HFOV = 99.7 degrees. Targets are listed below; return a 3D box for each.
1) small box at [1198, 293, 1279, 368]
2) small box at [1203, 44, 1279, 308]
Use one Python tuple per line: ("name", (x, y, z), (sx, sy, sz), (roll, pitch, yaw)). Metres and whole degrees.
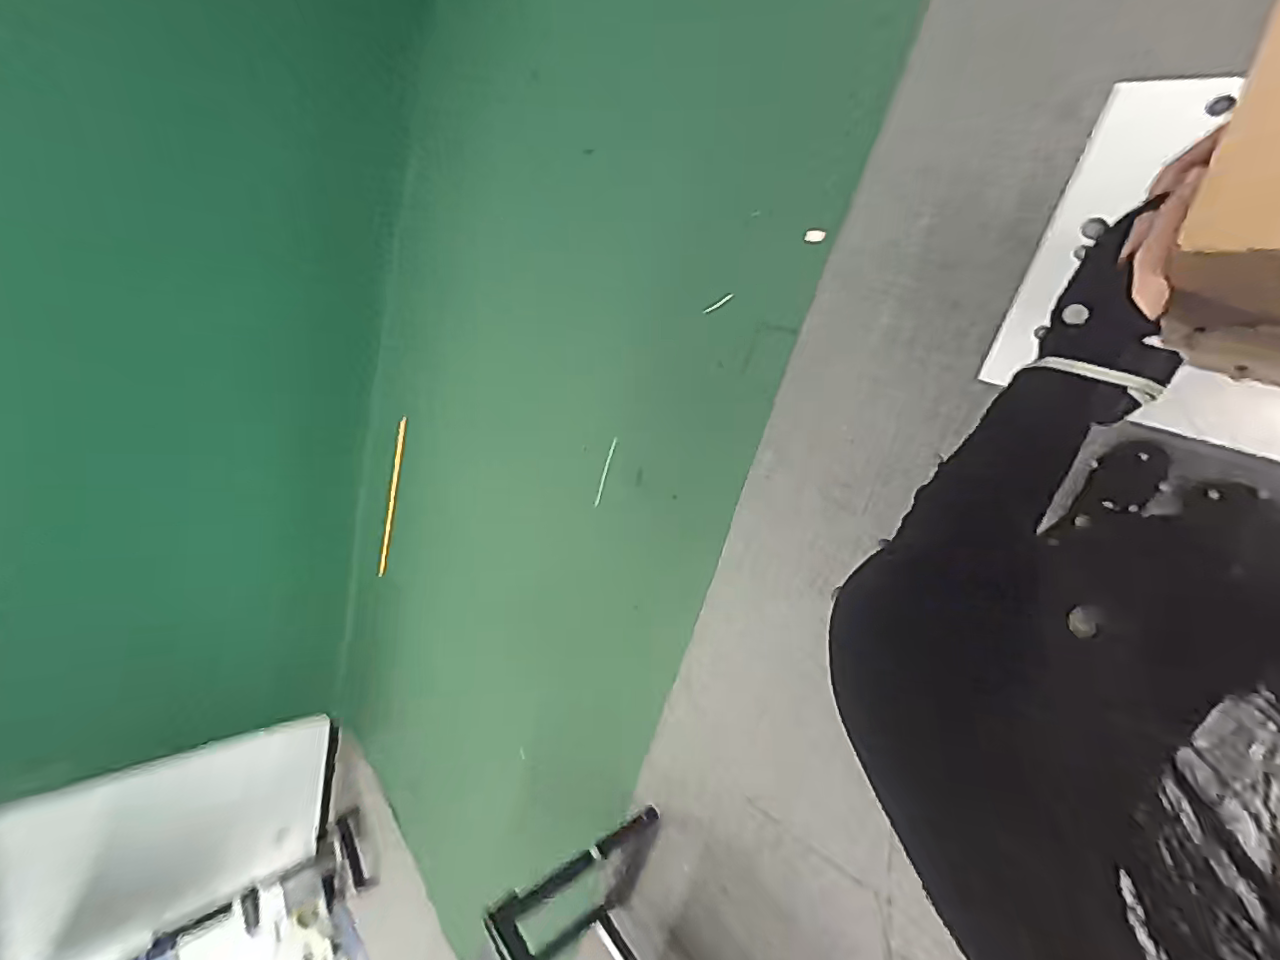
("small box", (0.688, -0.201, 0.520), (0.168, 0.176, 0.179), (34, 115, 39))
("small box", (0.448, -0.197, 0.292), (0.168, 0.176, 0.179), (25, 107, 43))
